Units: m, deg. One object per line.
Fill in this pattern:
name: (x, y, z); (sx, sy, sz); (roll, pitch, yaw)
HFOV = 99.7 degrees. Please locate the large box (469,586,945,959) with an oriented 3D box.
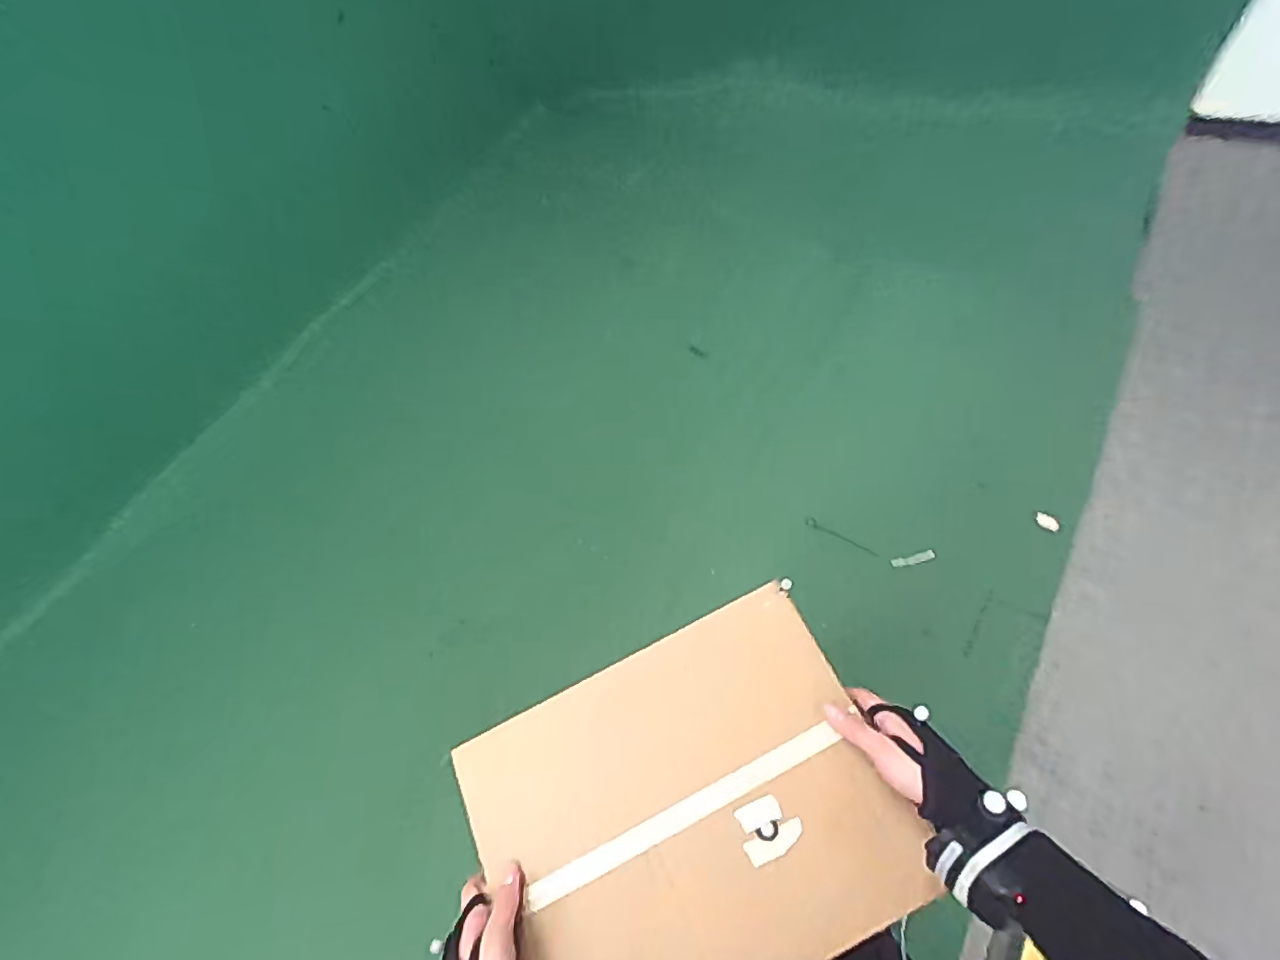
large box: (0.066, 0.392, 0.688); (0.408, 0.320, 0.320); (-26, 67, -5)
